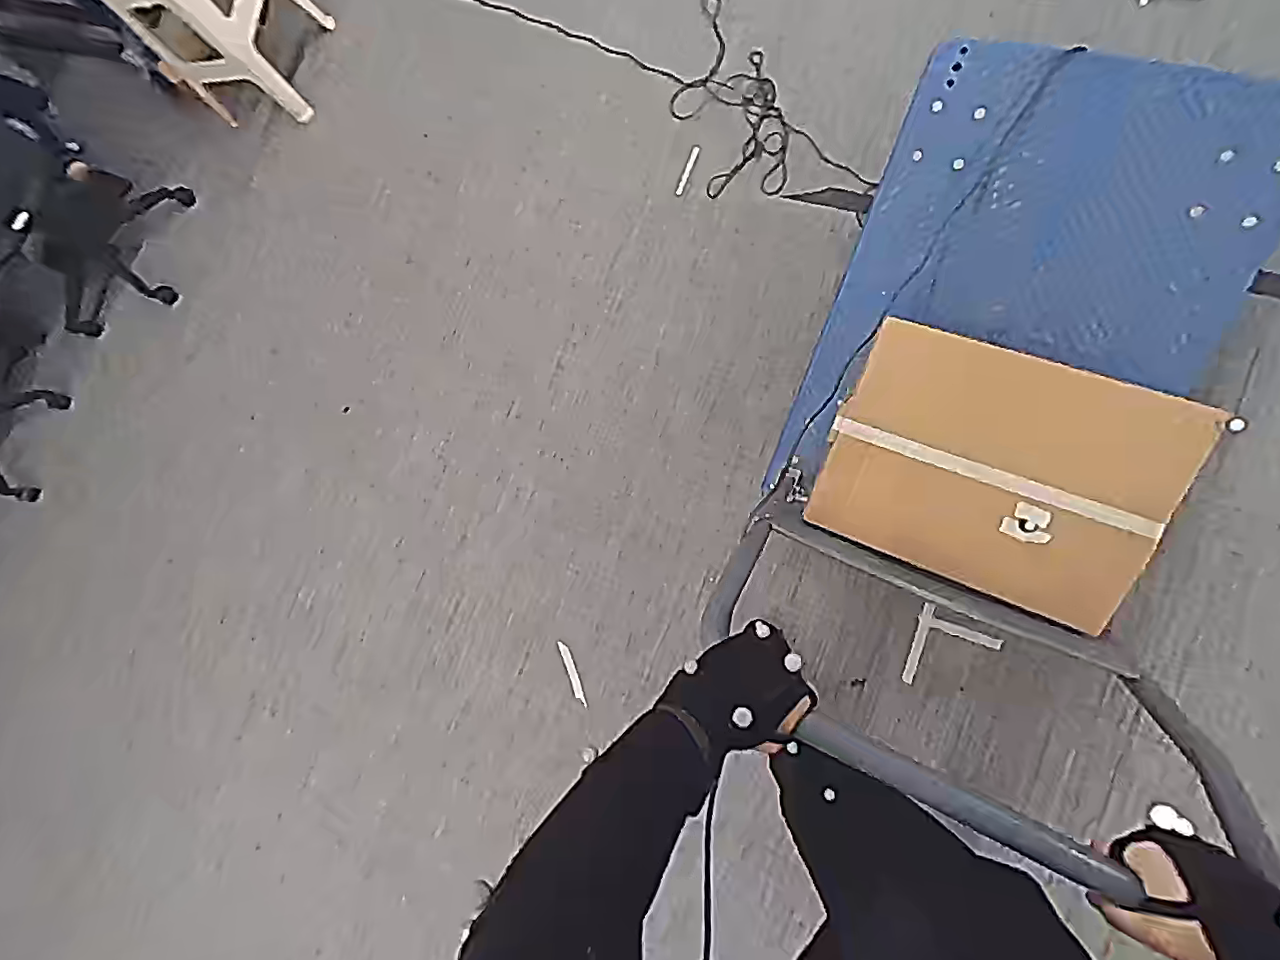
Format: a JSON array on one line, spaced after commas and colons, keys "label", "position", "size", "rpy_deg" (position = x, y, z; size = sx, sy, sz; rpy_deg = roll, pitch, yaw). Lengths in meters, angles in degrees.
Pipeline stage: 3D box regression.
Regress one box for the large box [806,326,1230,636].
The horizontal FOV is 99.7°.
[{"label": "large box", "position": [0.513, -0.025, 0.853], "size": [0.408, 0.320, 0.320], "rpy_deg": [22, 106, 15]}]
